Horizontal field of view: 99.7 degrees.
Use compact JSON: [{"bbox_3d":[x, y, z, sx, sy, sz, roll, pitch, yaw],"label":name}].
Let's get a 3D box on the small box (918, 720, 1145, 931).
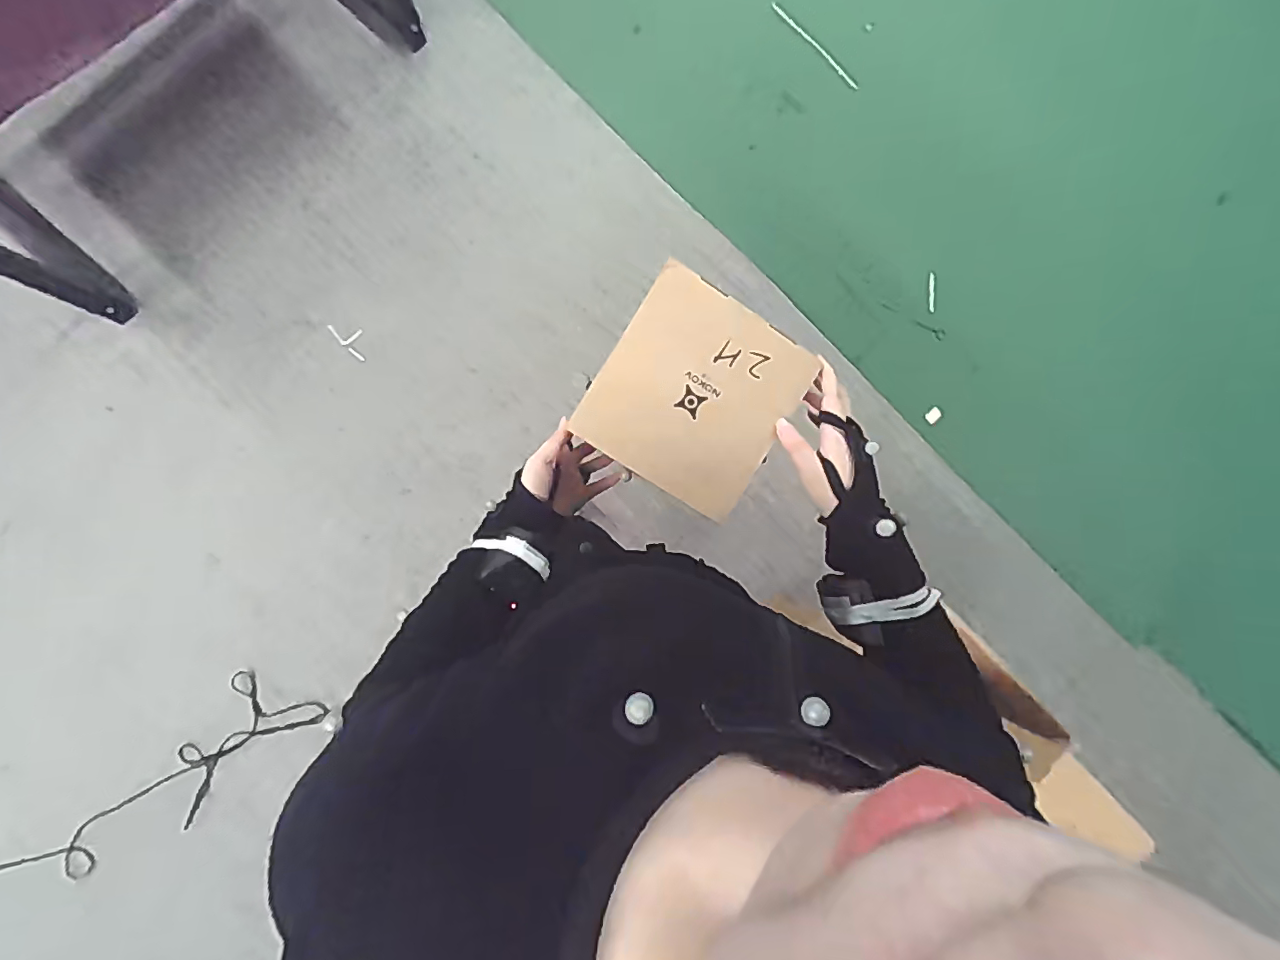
[{"bbox_3d":[0.561,0.488,0.802,0.168,0.176,0.179,-42,90,-5],"label":"small box"}]
